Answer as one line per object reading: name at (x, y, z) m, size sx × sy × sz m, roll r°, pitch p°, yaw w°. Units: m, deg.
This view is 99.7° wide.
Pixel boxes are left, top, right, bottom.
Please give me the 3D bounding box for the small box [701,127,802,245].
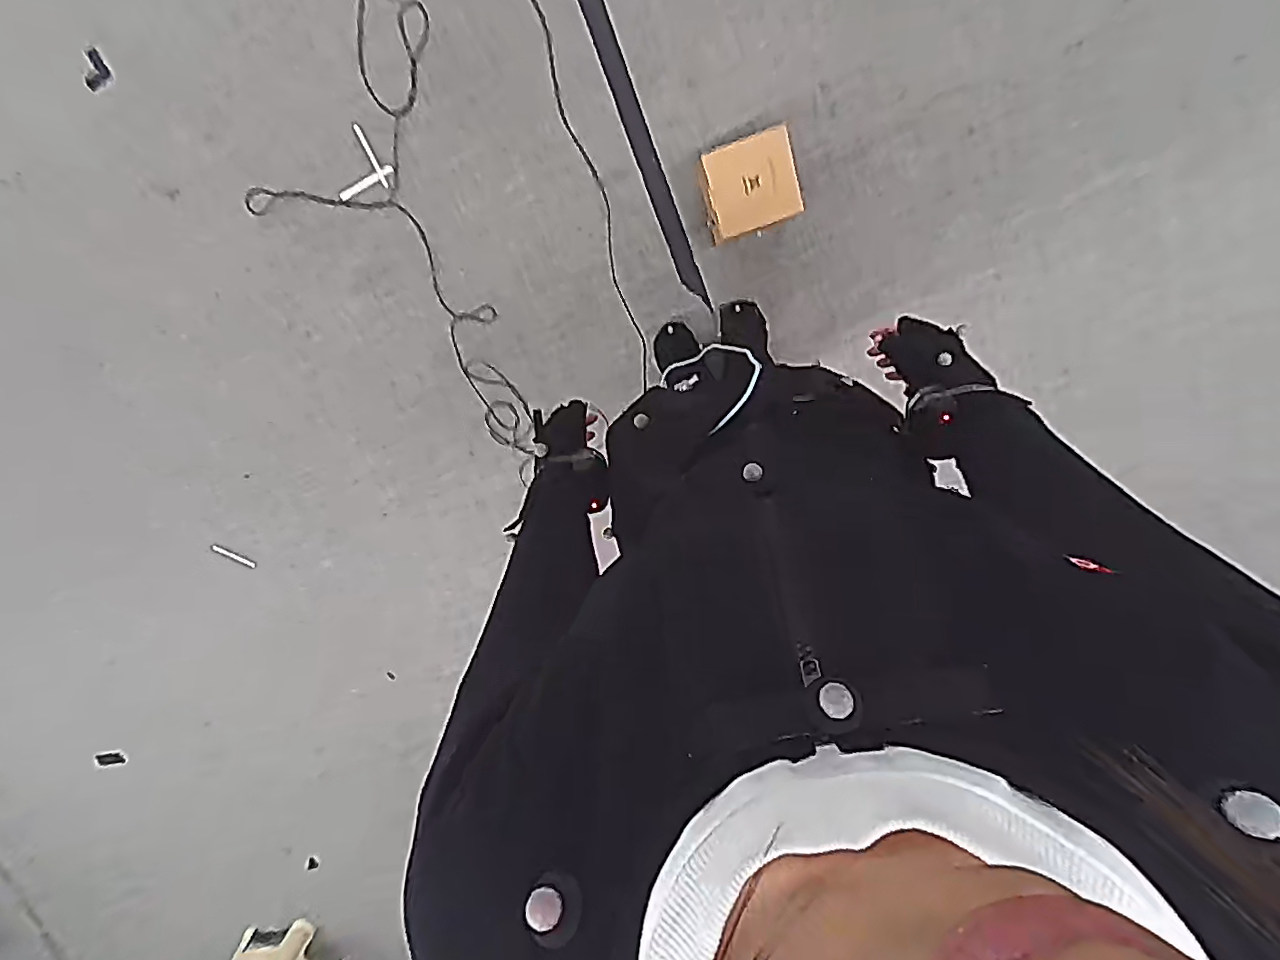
small box at (0.236, -0.625, 1.176) m, size 0.179 × 0.176 × 0.168 m, roll -16°, pitch 107°, yaw 9°
